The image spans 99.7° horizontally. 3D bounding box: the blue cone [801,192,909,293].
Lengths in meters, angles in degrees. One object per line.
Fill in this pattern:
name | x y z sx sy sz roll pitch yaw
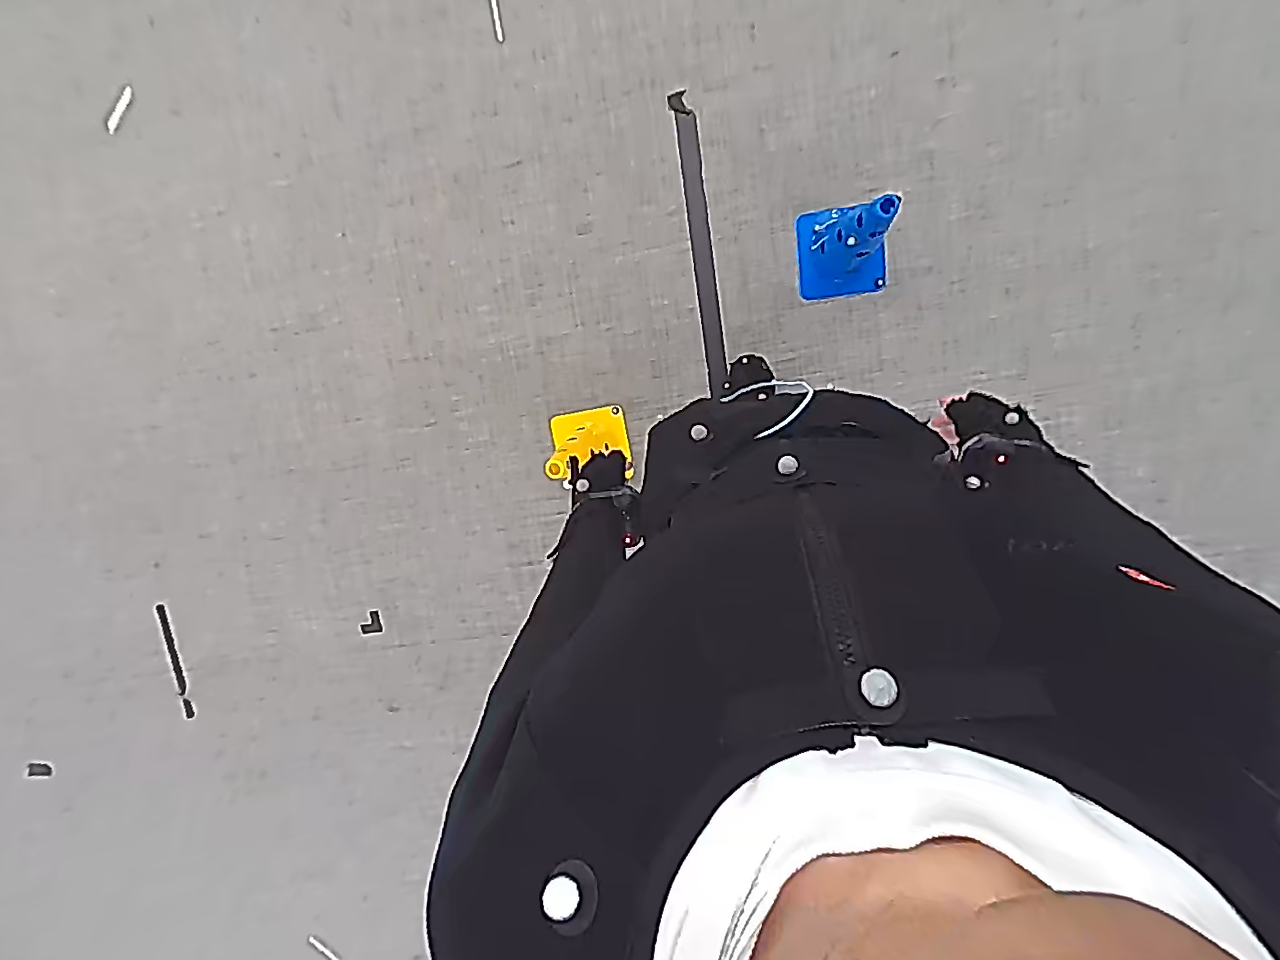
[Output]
blue cone | 0.464 -0.519 1.129 0.192 0.380 0.193 -4 100 7
